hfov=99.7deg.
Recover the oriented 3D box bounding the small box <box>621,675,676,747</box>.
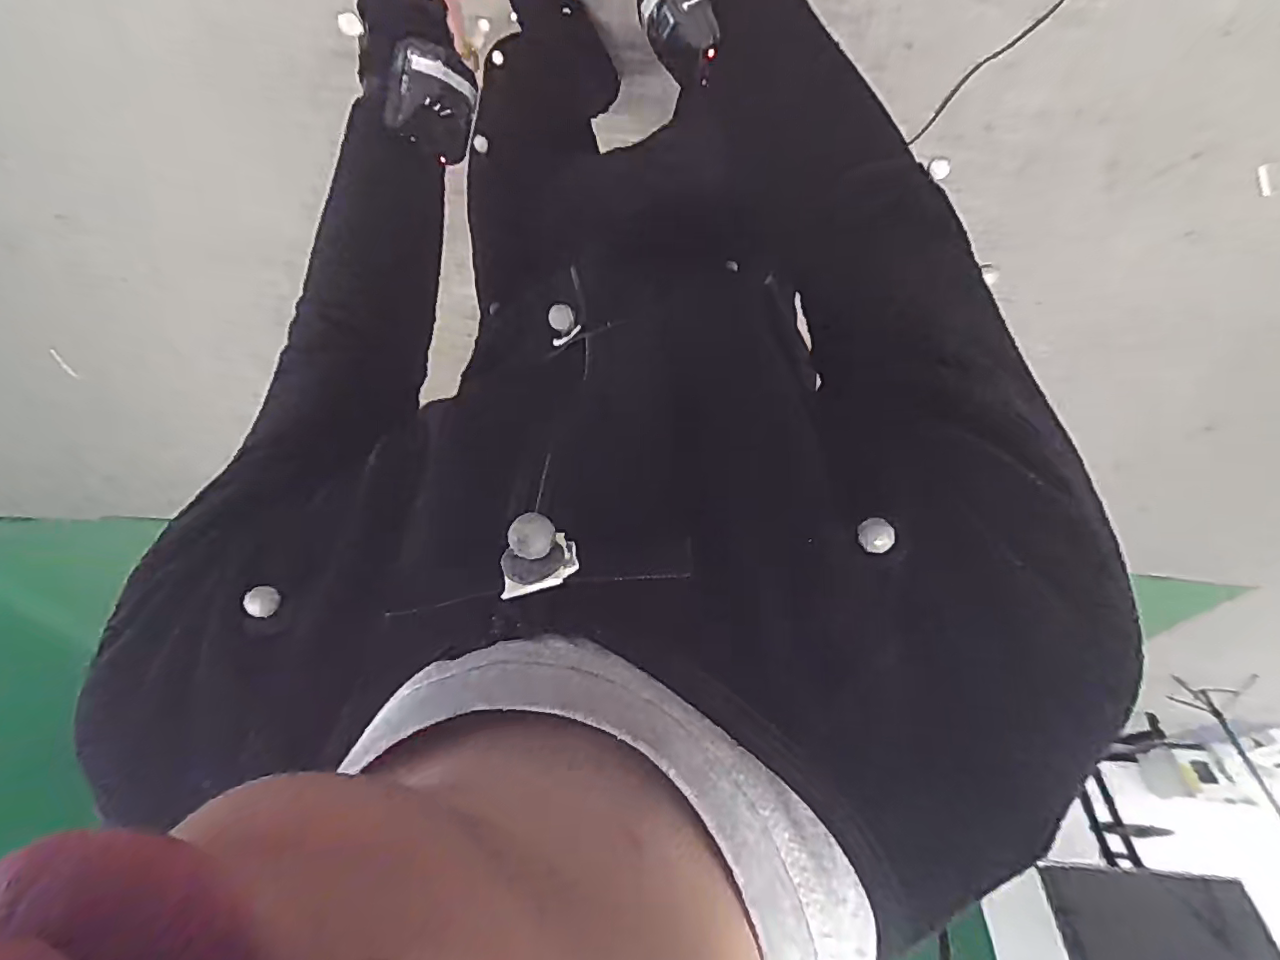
[{"bbox_3d":[0.024,0.738,1.724,0.168,0.176,0.179,1,140,-1],"label":"small box"}]
